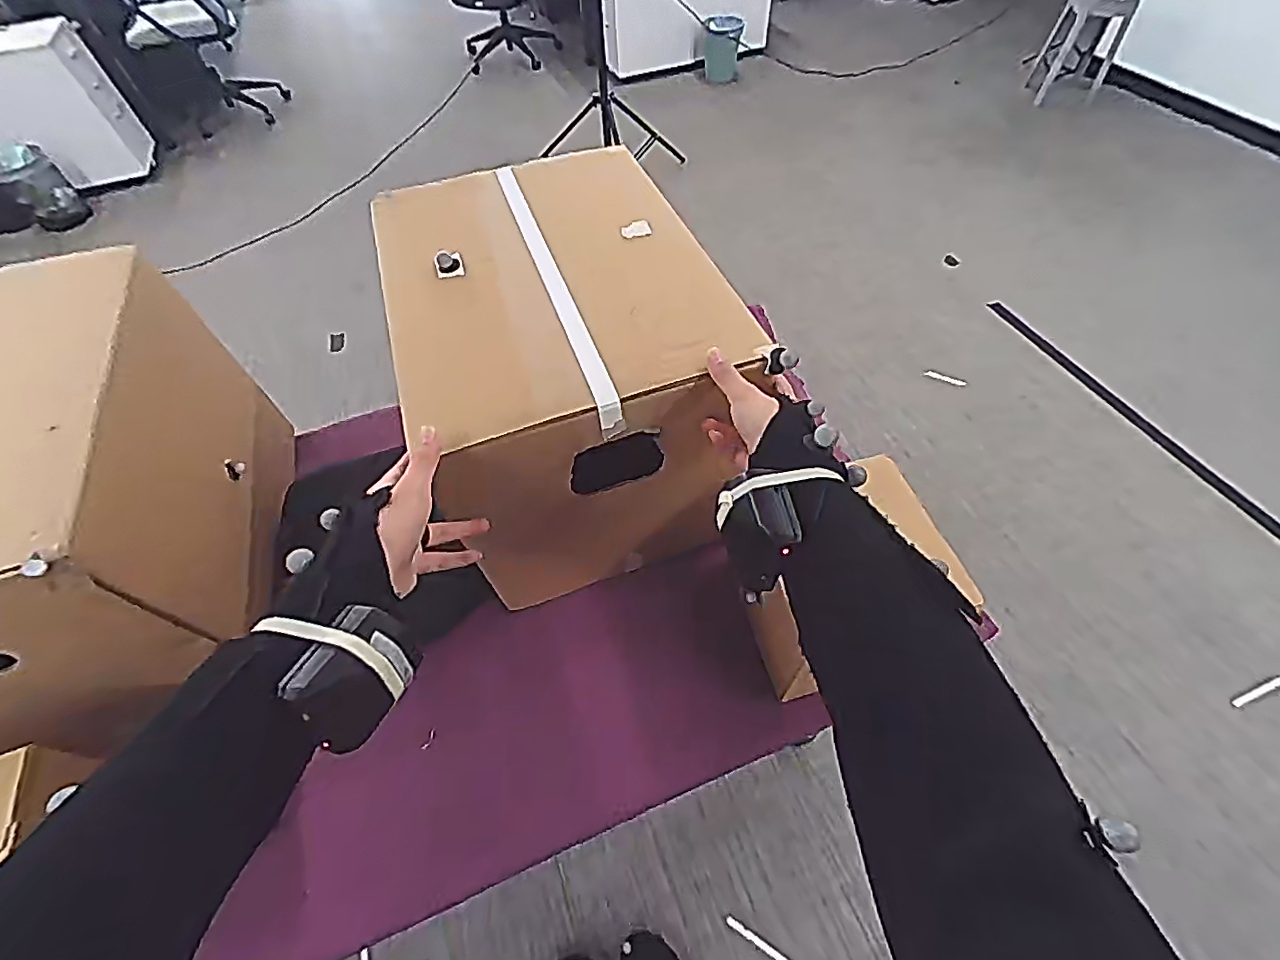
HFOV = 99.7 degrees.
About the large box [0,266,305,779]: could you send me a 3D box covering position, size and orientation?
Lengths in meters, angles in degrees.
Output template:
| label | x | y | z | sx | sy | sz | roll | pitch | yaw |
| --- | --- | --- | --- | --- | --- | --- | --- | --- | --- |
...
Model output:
| label | x | y | z | sx | sy | sz | roll | pitch | yaw |
| --- | --- | --- | --- | --- | --- | --- | --- | --- | --- |
| large box | -0.610 | 0.044 | 0.587 | 0.320 | 0.320 | 0.408 | -19 | 59 | -10 |
